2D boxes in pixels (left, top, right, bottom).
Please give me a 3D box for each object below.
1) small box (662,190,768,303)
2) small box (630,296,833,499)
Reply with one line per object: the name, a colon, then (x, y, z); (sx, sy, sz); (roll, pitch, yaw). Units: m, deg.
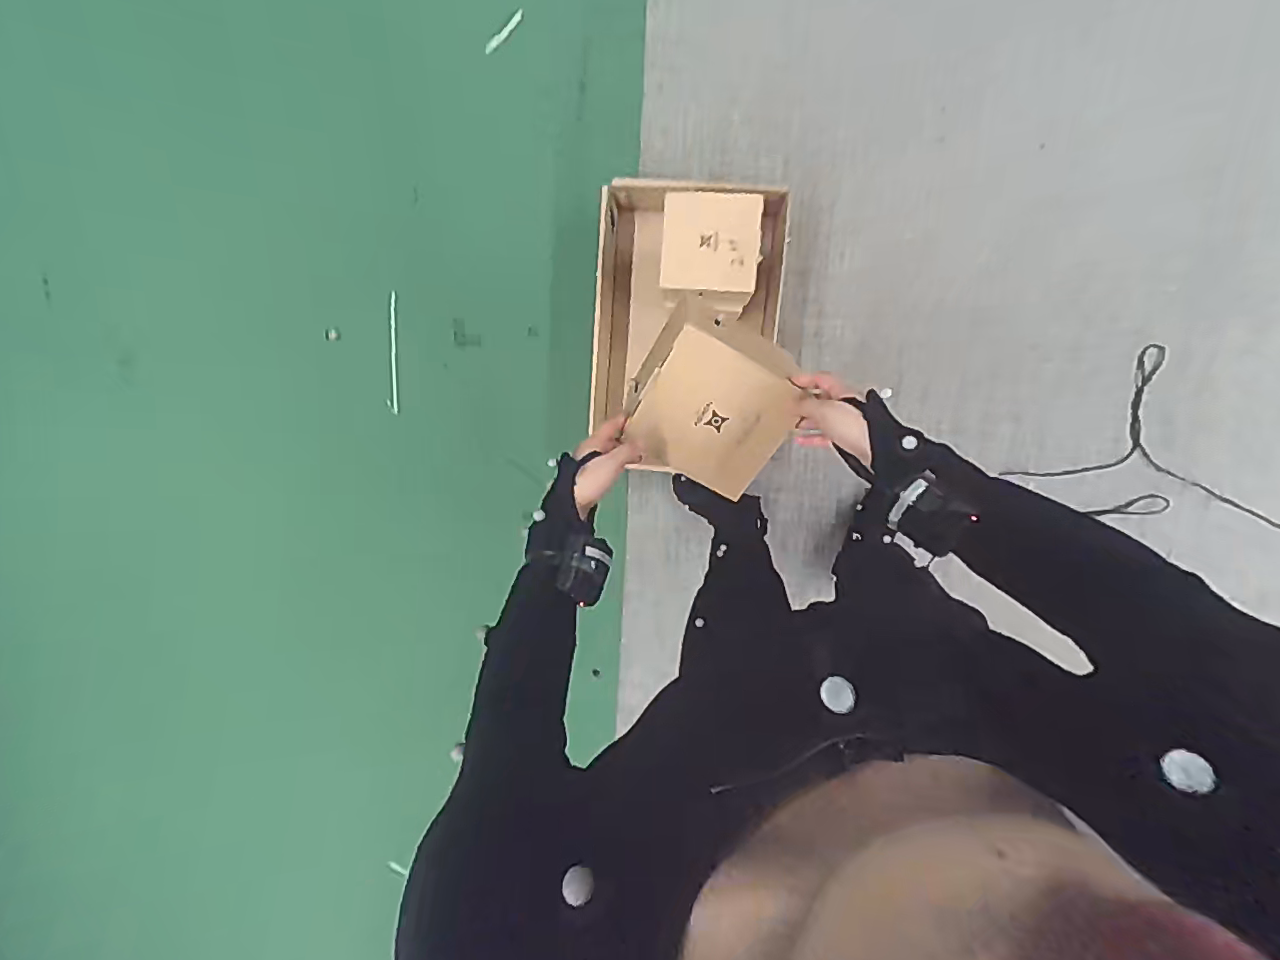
small box: (0.139, -0.436, 1.033); (0.179, 0.176, 0.168); (4, 101, 5)
small box: (0.105, -0.113, 0.683); (0.179, 0.176, 0.168); (26, 120, -12)
